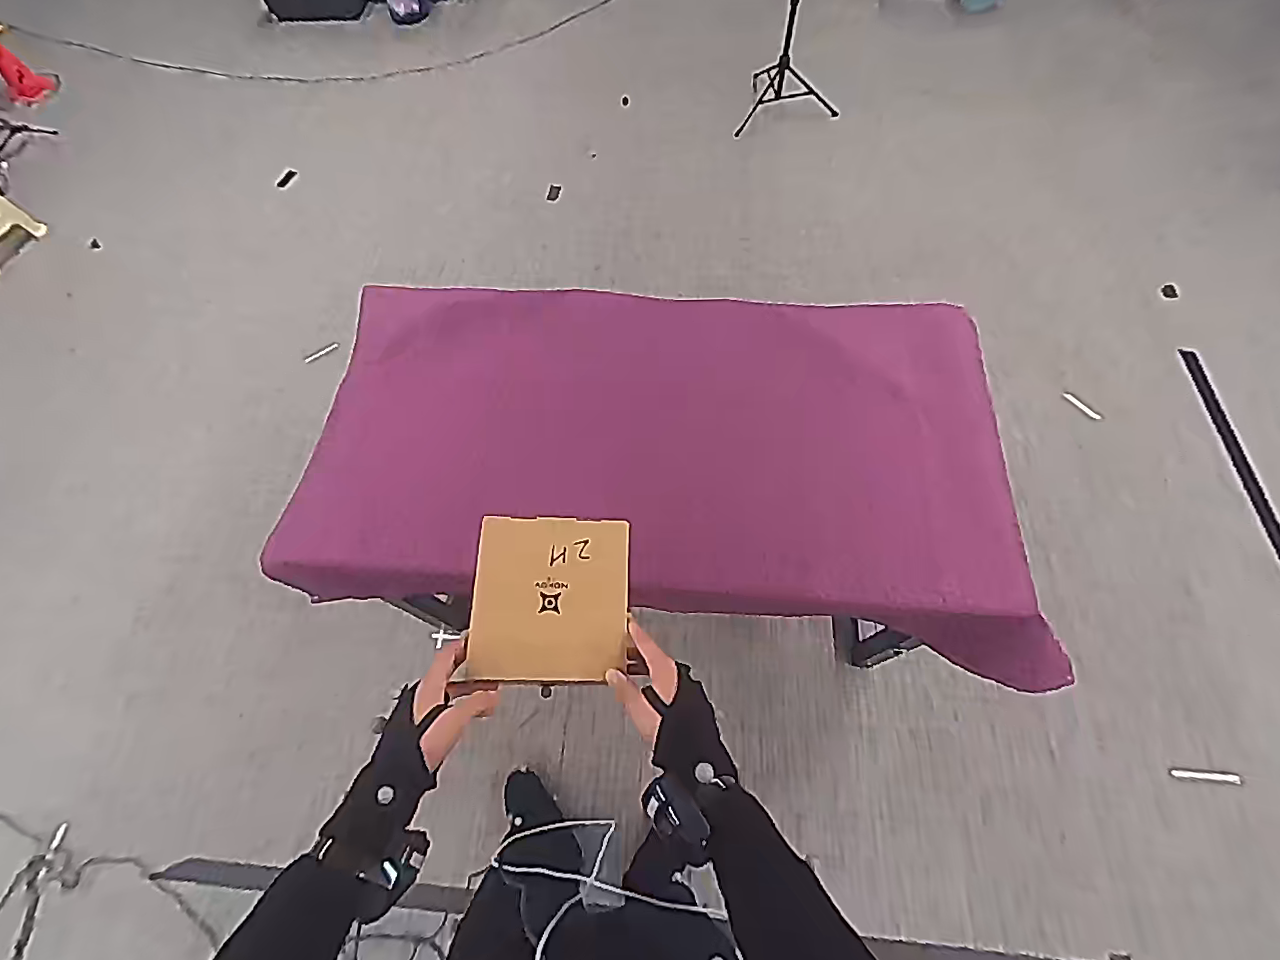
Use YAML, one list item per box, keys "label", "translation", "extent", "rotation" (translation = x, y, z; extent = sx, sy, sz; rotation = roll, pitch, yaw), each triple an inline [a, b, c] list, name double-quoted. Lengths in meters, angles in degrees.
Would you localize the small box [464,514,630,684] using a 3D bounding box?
- label: "small box"
  translation: [-0.102, 0.153, 0.655]
  extent: [0.168, 0.176, 0.179]
  rotation: [3, 68, -5]
